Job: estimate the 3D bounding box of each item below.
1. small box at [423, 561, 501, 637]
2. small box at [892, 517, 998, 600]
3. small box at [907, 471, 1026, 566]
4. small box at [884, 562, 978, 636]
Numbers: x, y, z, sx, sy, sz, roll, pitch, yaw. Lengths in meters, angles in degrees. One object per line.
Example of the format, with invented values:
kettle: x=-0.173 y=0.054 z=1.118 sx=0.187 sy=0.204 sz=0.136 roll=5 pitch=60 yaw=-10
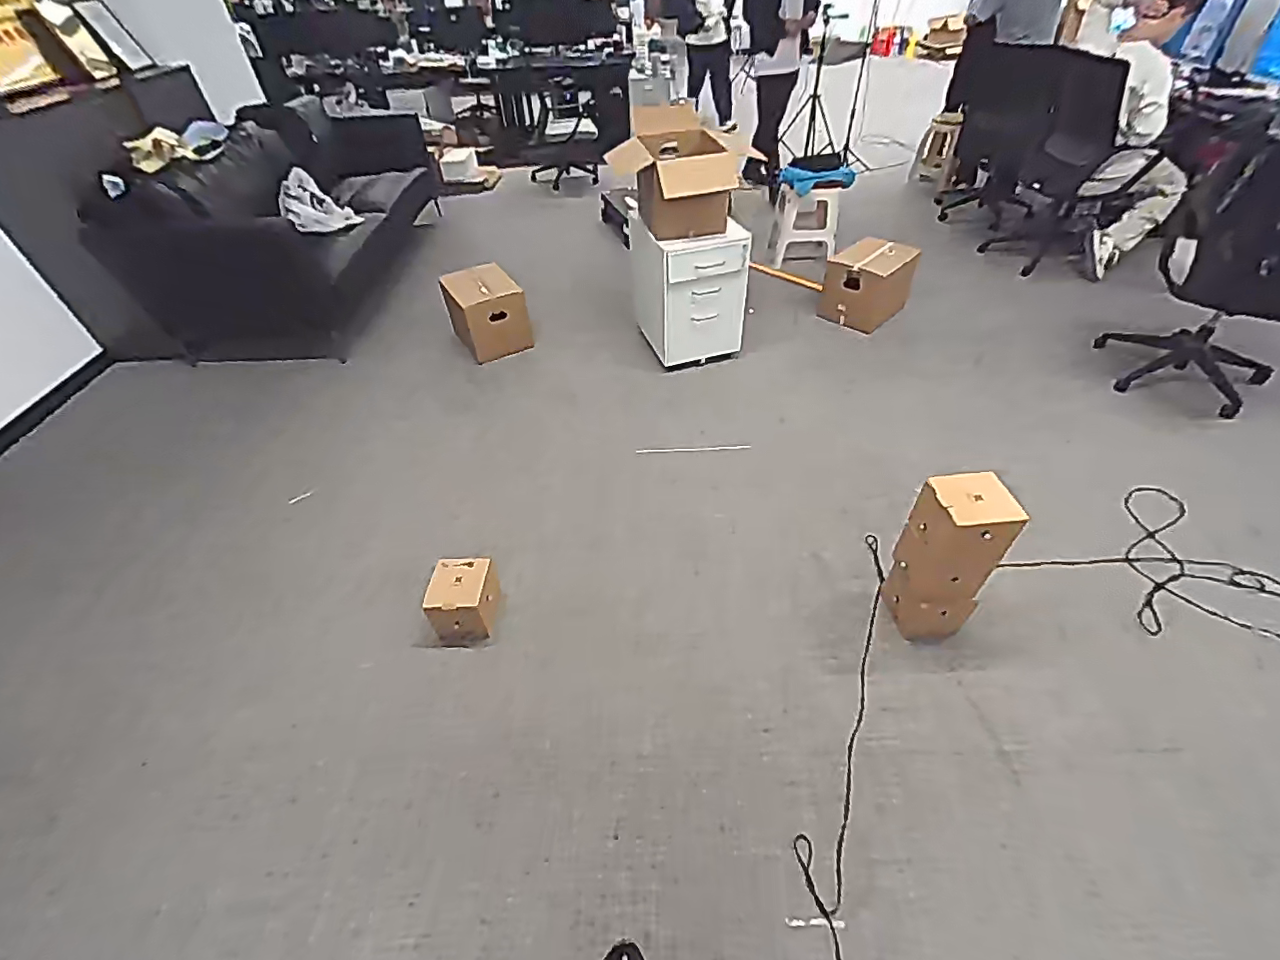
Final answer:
small box: x=-0.538 y=0.370 z=1.664 sx=0.168 sy=0.176 sz=0.179 roll=-1 pitch=44 yaw=3
small box: x=0.829 y=0.213 z=1.491 sx=0.179 sy=0.176 sz=0.168 roll=-5 pitch=43 yaw=0
small box: x=0.817 y=0.100 z=1.374 sx=0.179 sy=0.176 sz=0.168 roll=-6 pitch=44 yaw=-1
small box: x=0.842 y=0.342 z=1.591 sx=0.179 sy=0.176 sz=0.168 roll=-7 pitch=45 yaw=-4
